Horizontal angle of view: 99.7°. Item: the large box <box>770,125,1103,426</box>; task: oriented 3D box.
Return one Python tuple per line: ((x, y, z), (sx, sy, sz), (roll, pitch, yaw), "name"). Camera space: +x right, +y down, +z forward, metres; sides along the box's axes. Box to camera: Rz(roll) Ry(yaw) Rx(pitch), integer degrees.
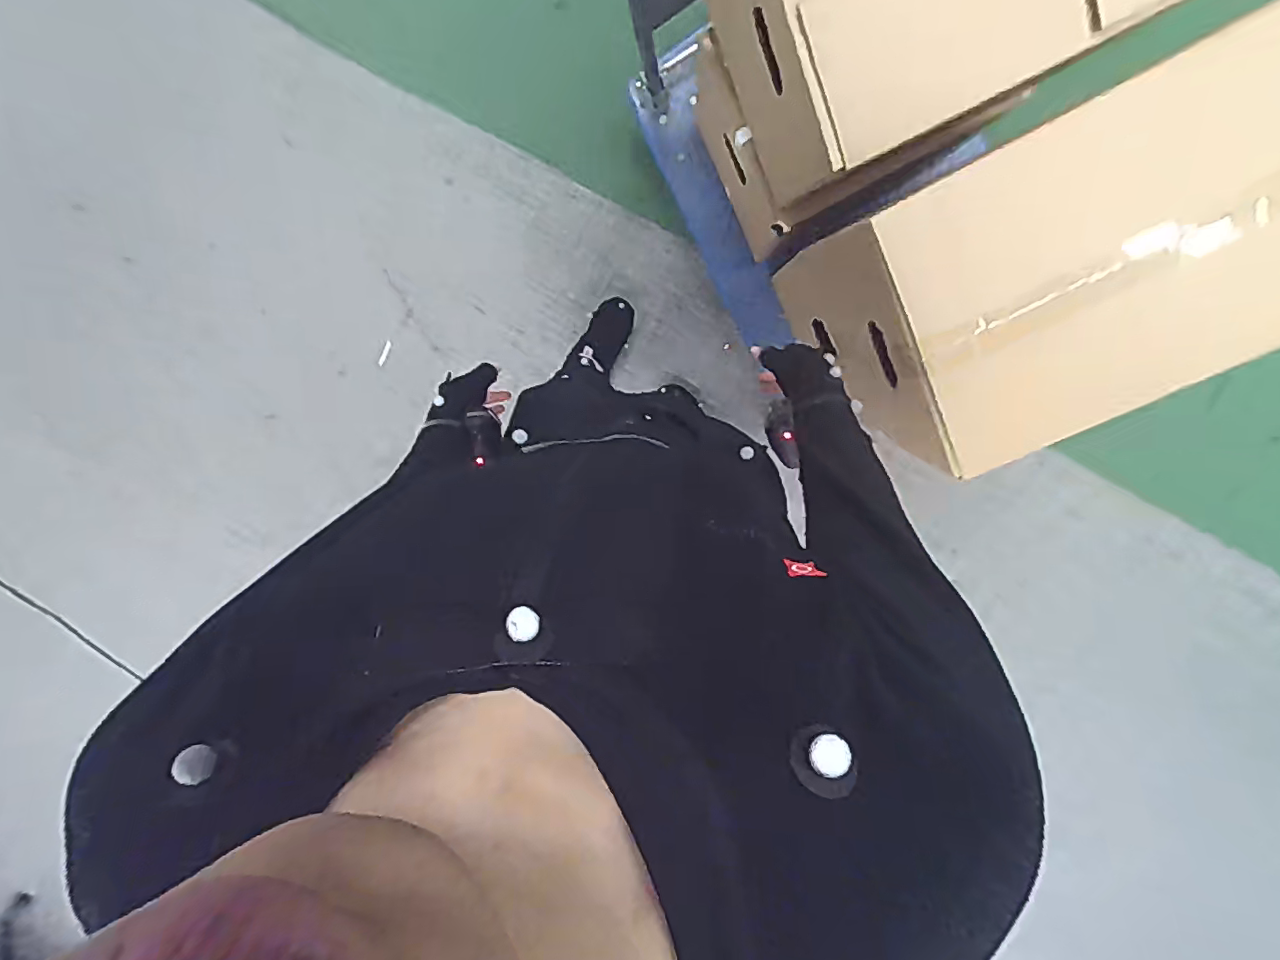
((0.501, -0.344, 1.003), (0.408, 0.320, 0.320), (-26, 98, 12), "large box")
